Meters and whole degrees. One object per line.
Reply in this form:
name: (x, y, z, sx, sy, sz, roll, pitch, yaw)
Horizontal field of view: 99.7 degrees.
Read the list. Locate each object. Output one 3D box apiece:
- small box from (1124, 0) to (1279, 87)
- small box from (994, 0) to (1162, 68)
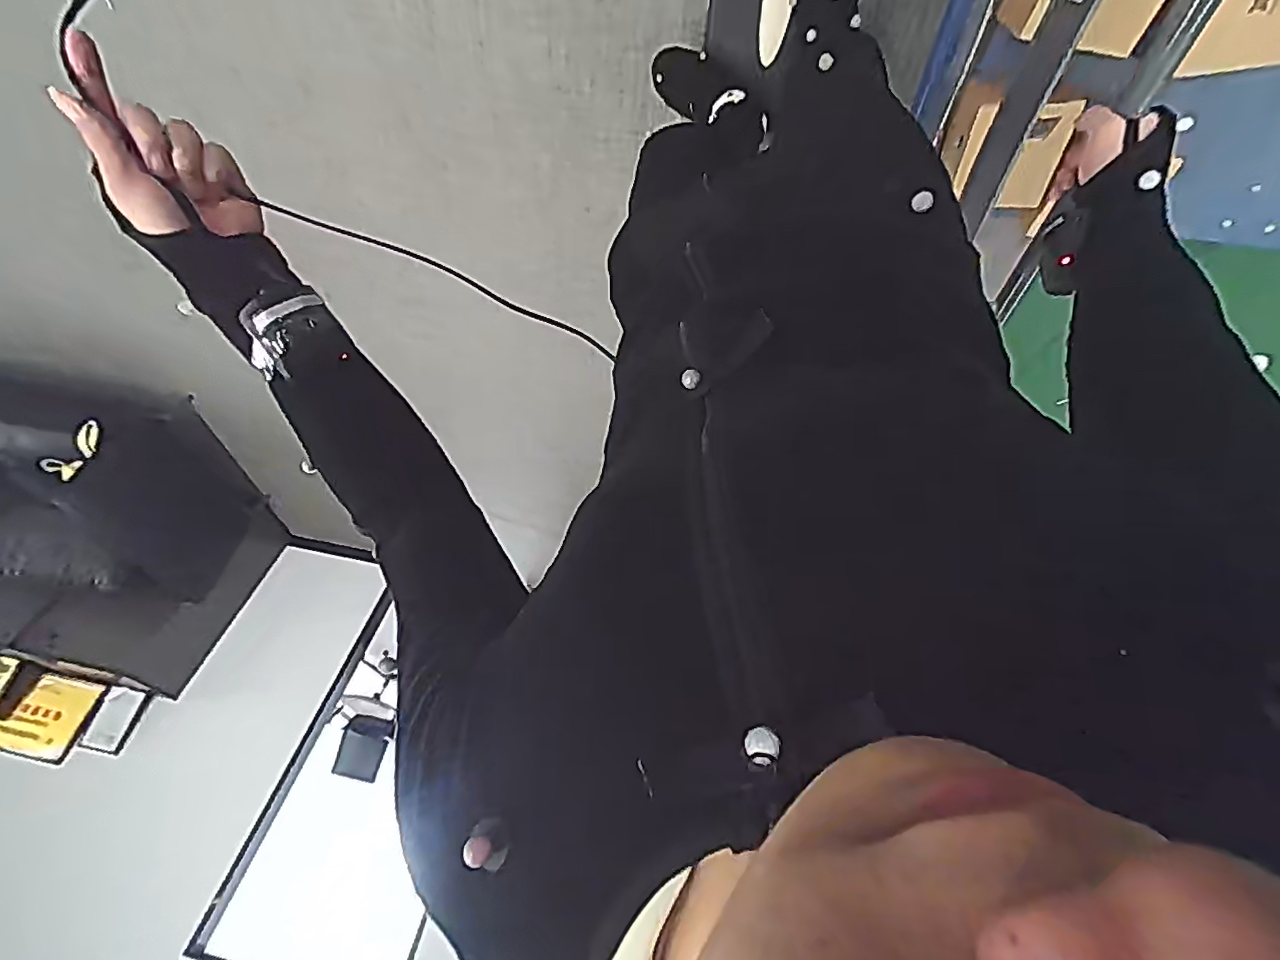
small box: (0.914, -0.740, 0.840, 0.179, 0.176, 0.168, 3, 140, 15)
small box: (0.705, -0.789, 0.854, 0.179, 0.176, 0.168, 13, 141, 3)
